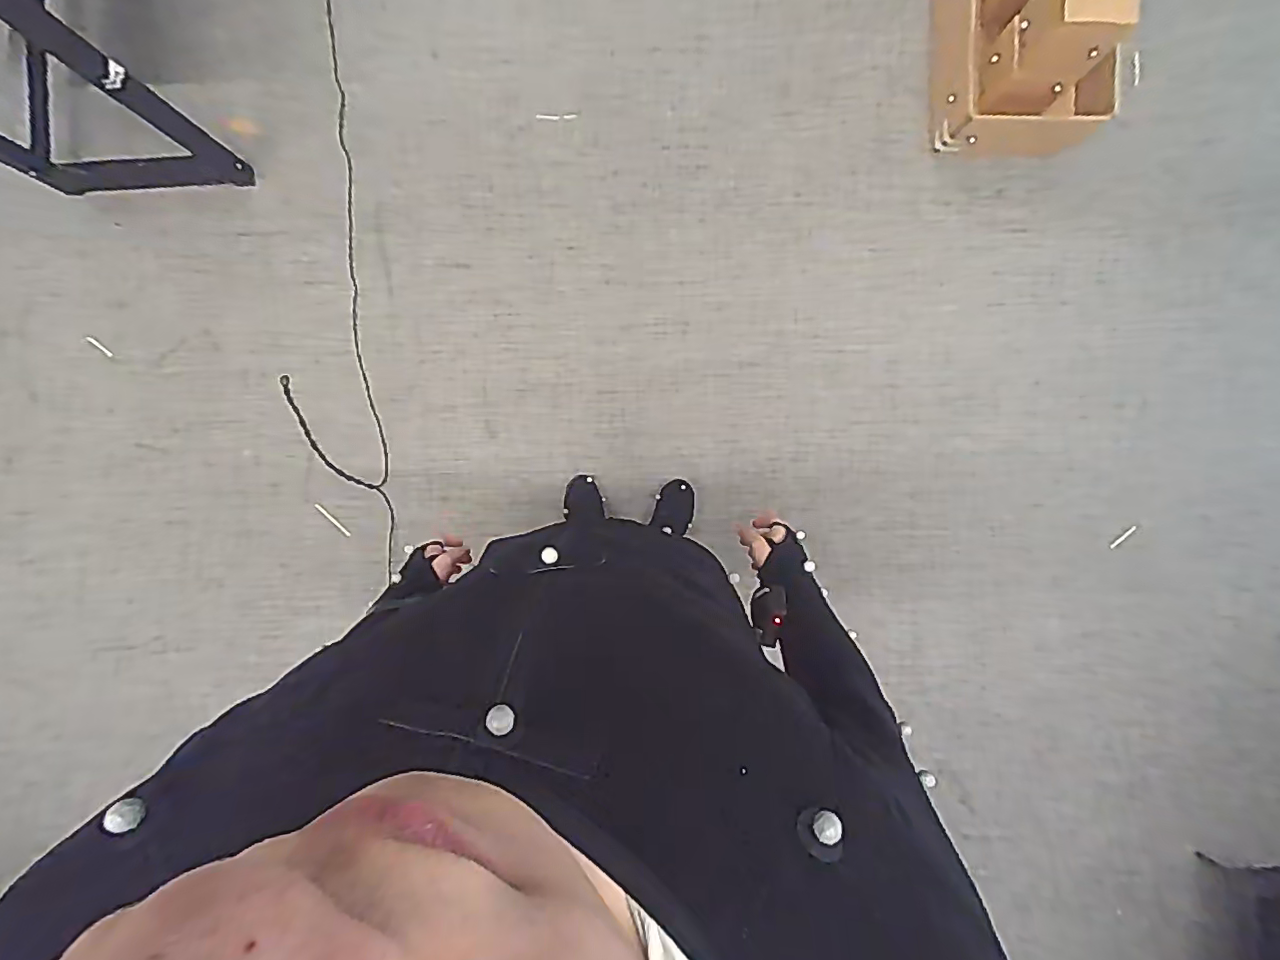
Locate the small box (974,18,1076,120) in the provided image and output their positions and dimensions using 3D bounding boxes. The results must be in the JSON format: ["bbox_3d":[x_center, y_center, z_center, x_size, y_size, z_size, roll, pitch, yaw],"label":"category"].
[{"bbox_3d":[1.060,-1.132,1.500,0.179,0.176,0.168,0,90,0],"label":"small box"}]

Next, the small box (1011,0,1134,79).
[{"bbox_3d":[1.064,-1.133,1.336,0.179,0.176,0.168,2,89,0],"label":"small box"}]

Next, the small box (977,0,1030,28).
[{"bbox_3d":[1.063,-1.393,1.493,0.179,0.176,0.168,0,92,0],"label":"small box"}]
